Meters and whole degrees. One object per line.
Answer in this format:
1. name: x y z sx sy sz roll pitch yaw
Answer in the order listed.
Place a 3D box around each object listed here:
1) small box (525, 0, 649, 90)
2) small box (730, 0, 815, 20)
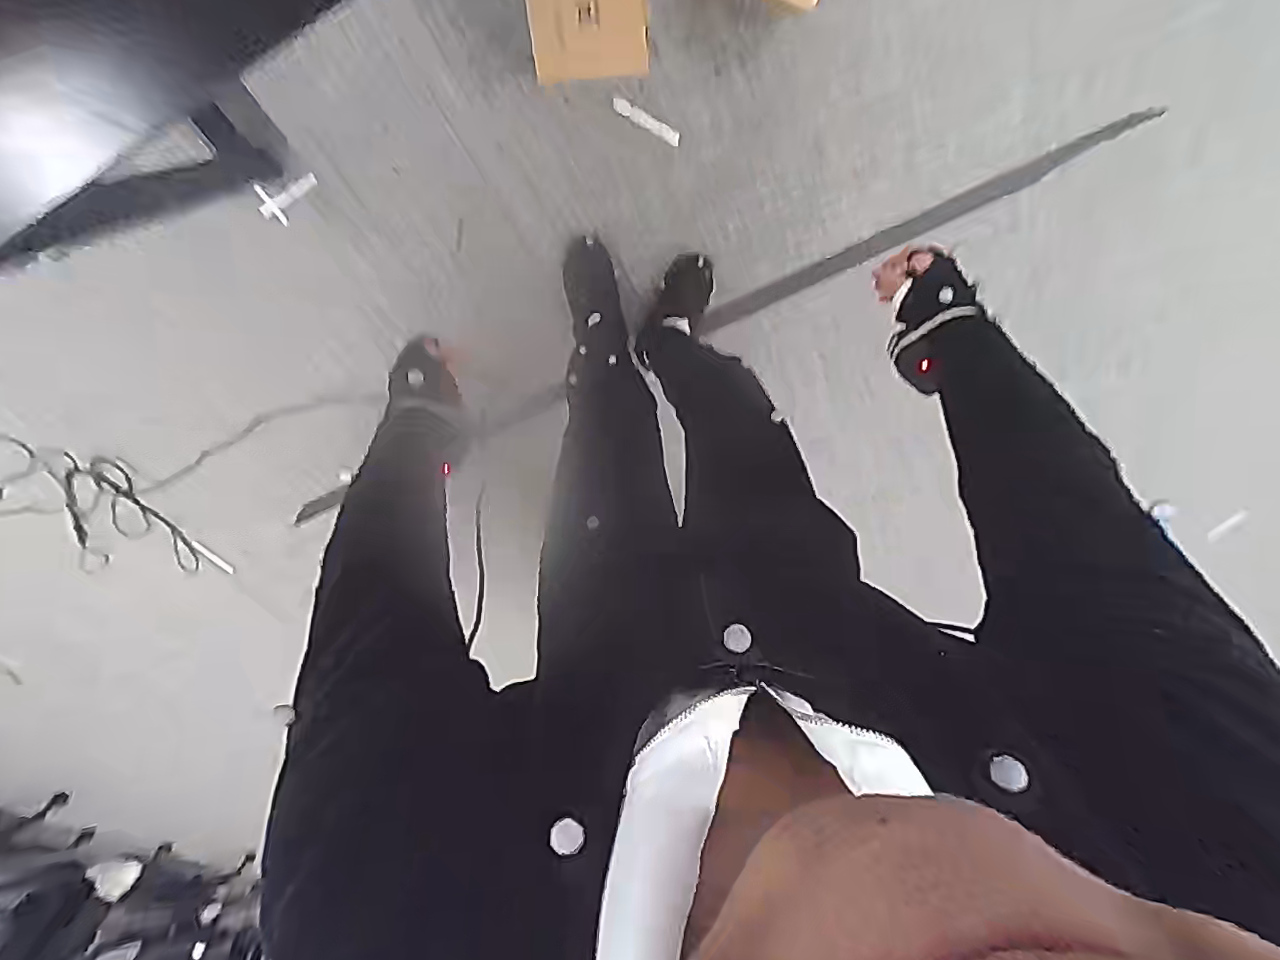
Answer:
1. small box: -0.084 -0.730 0.858 0.179 0.176 0.168 -6 126 1
2. small box: 0.199 -0.828 0.805 0.168 0.176 0.179 13 124 -13
